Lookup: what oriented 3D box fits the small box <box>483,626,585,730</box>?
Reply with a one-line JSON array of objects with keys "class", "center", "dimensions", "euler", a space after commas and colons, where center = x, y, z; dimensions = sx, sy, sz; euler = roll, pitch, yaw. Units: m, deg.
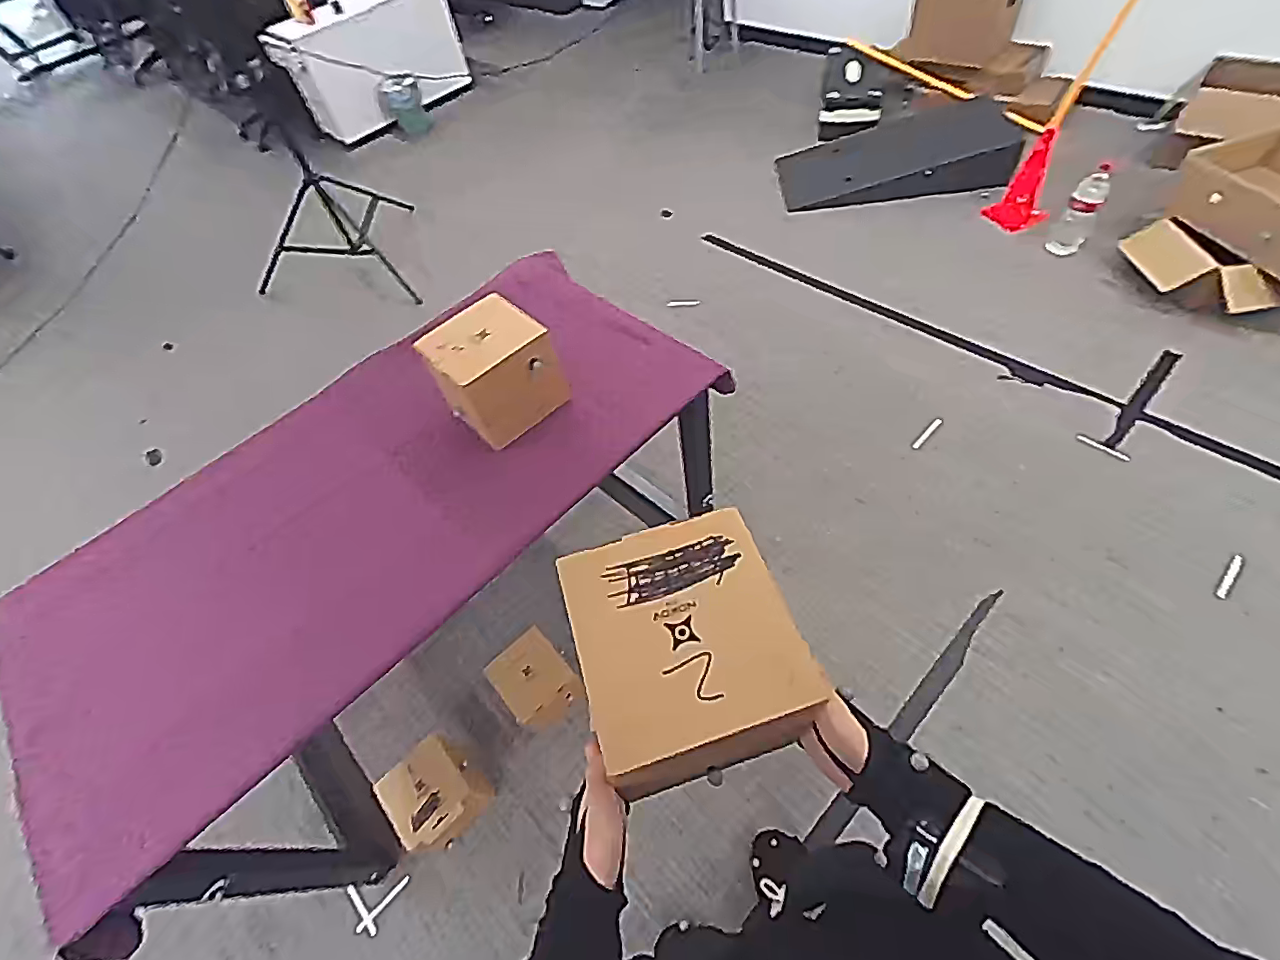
[{"class": "small box", "center": [-0.264, 0.513, 1.385], "dimensions": [0.168, 0.176, 0.179], "euler": [-40, 59, -19]}]

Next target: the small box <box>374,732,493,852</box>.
[{"class": "small box", "center": [-0.475, 0.729, 1.268], "dimensions": [0.168, 0.176, 0.179], "euler": [-41, 59, -18]}]

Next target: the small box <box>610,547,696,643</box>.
[{"class": "small box", "center": [0.040, 0.316, 1.473], "dimensions": [0.179, 0.176, 0.168], "euler": [-28, 58, -9]}]

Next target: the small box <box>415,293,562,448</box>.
[{"class": "small box", "center": [-0.259, -0.195, 0.973], "dimensions": [0.179, 0.176, 0.168], "euler": [-41, 59, -18]}]
